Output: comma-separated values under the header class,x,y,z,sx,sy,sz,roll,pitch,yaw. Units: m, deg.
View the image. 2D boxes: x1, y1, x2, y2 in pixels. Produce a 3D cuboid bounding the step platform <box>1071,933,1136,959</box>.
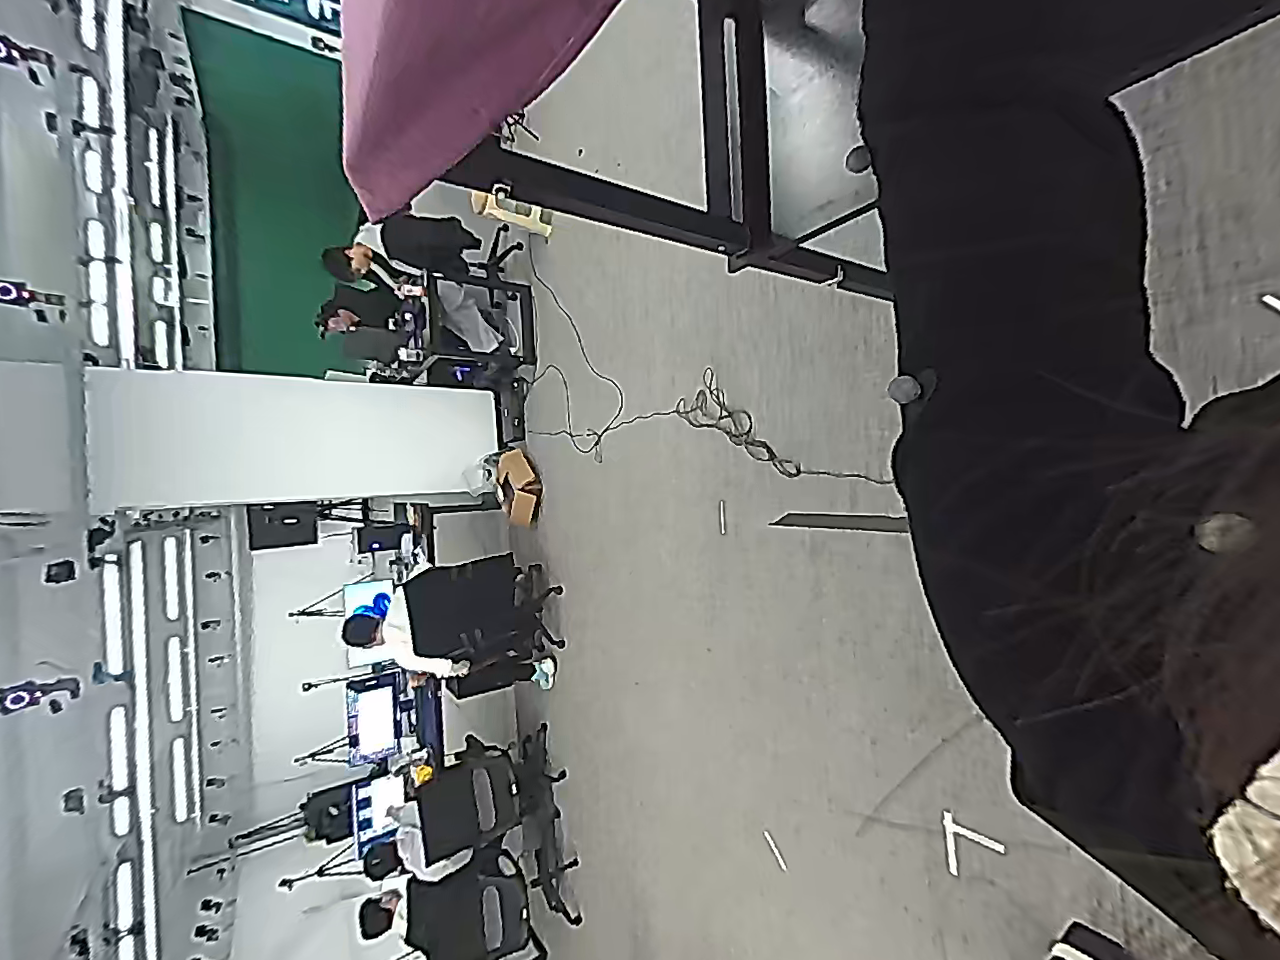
class,x,y,z,sx,sy,sz,roll,pitch,yaw
step platform,1.154,1.210,0.954,0.684,0.204,0.286,7,98,55
